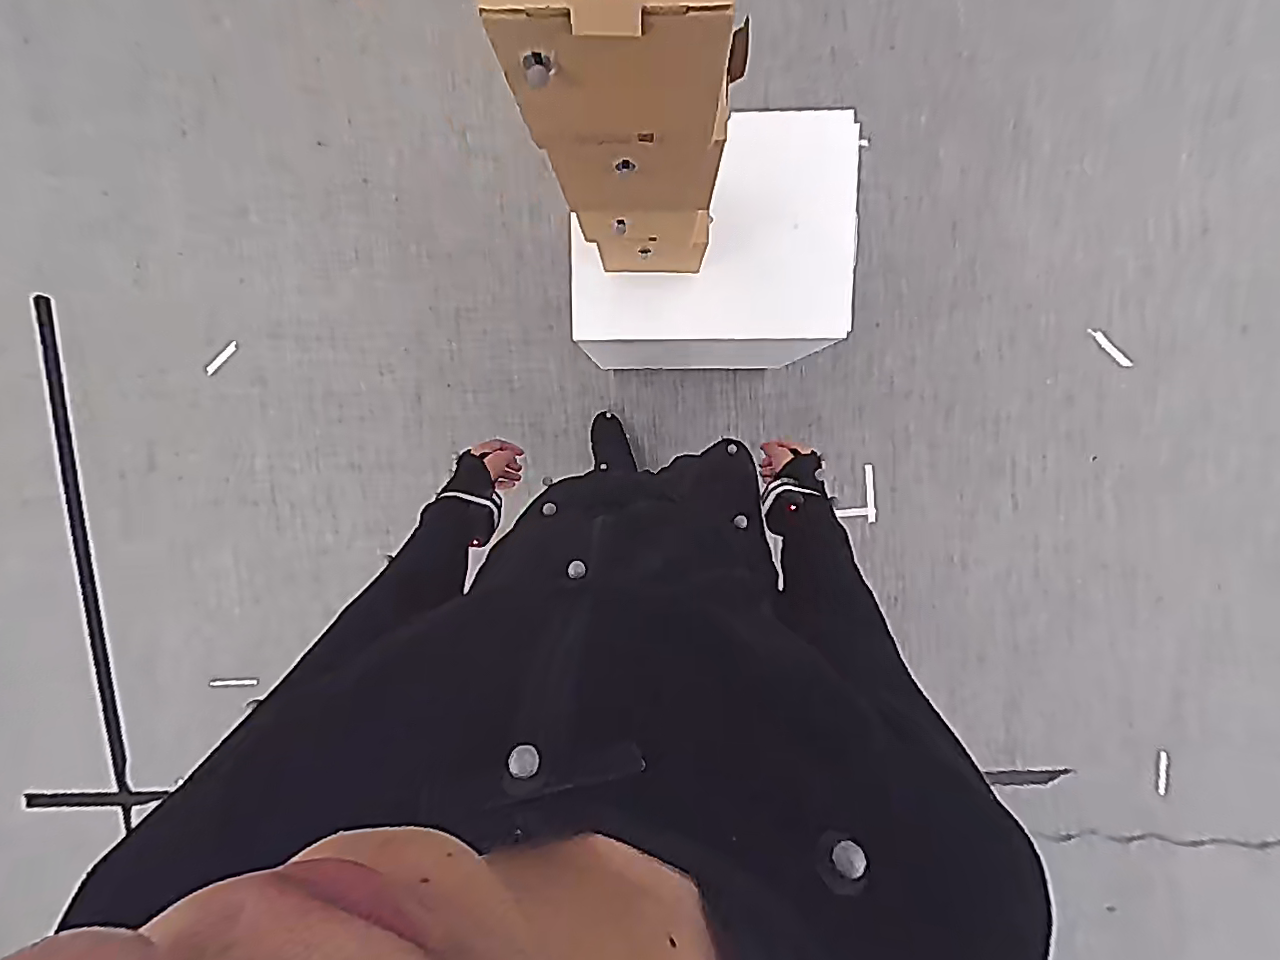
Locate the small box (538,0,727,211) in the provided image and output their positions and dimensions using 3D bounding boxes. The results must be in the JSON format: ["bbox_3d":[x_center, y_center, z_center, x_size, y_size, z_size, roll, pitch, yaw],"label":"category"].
[{"bbox_3d":[-0.004,-0.403,0.578,0.179,0.176,0.168,0,96,1],"label":"small box"}]

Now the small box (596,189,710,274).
[{"bbox_3d":[0.021,-0.450,0.901,0.179,0.176,0.168,1,96,0],"label":"small box"}]

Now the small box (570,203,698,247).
[{"bbox_3d":[0.000,-0.434,0.740,0.168,0.176,0.179,3,95,1],"label":"small box"}]
